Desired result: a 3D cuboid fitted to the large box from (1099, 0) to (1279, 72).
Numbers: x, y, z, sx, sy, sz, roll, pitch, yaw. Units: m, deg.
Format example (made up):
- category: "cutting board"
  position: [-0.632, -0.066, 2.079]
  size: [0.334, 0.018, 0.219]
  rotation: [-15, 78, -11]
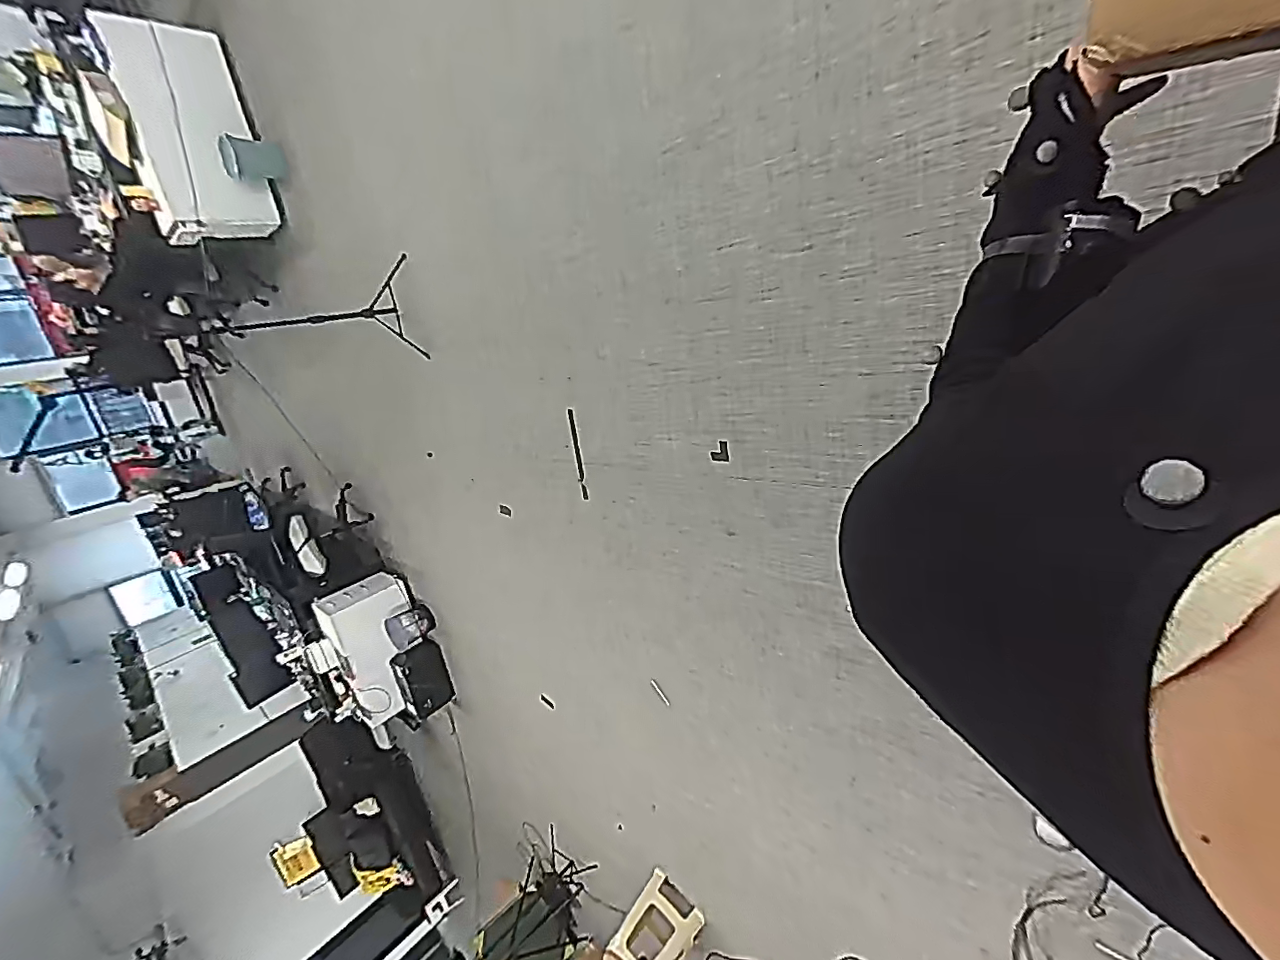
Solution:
- category: "large box"
  position: [0.397, -0.343, 0.126]
  size: [0.408, 0.320, 0.320]
  rotation: [12, 126, 38]
